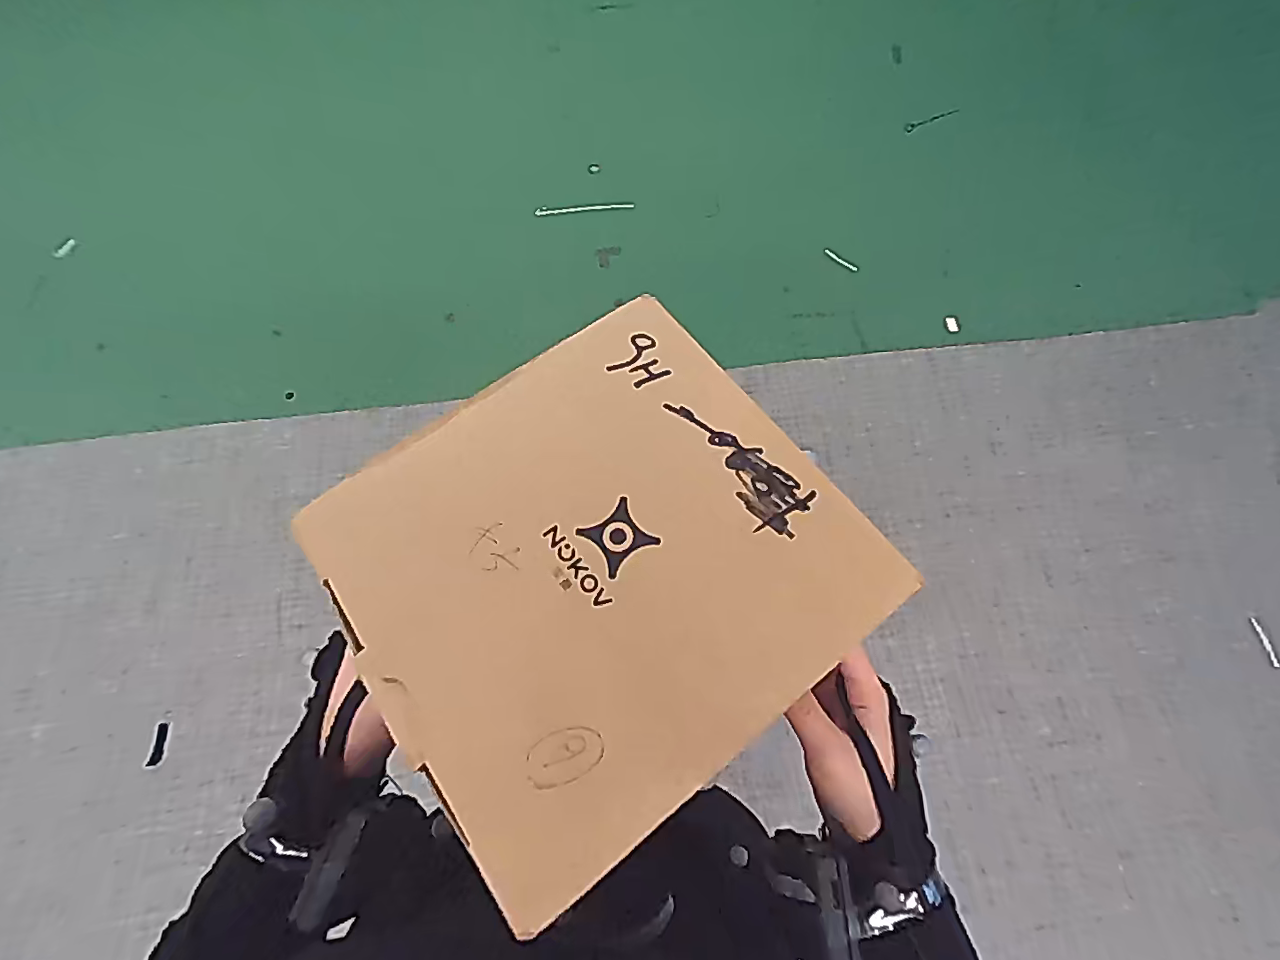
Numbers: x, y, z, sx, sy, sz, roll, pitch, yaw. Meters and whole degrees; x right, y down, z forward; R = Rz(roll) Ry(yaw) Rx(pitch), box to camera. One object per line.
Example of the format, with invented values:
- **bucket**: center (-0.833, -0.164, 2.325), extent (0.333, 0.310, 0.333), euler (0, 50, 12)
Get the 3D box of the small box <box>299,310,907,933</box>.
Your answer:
- **small box**: center (-0.015, 0.060, 0.275), extent (0.179, 0.176, 0.168), euler (-36, 71, -12)
